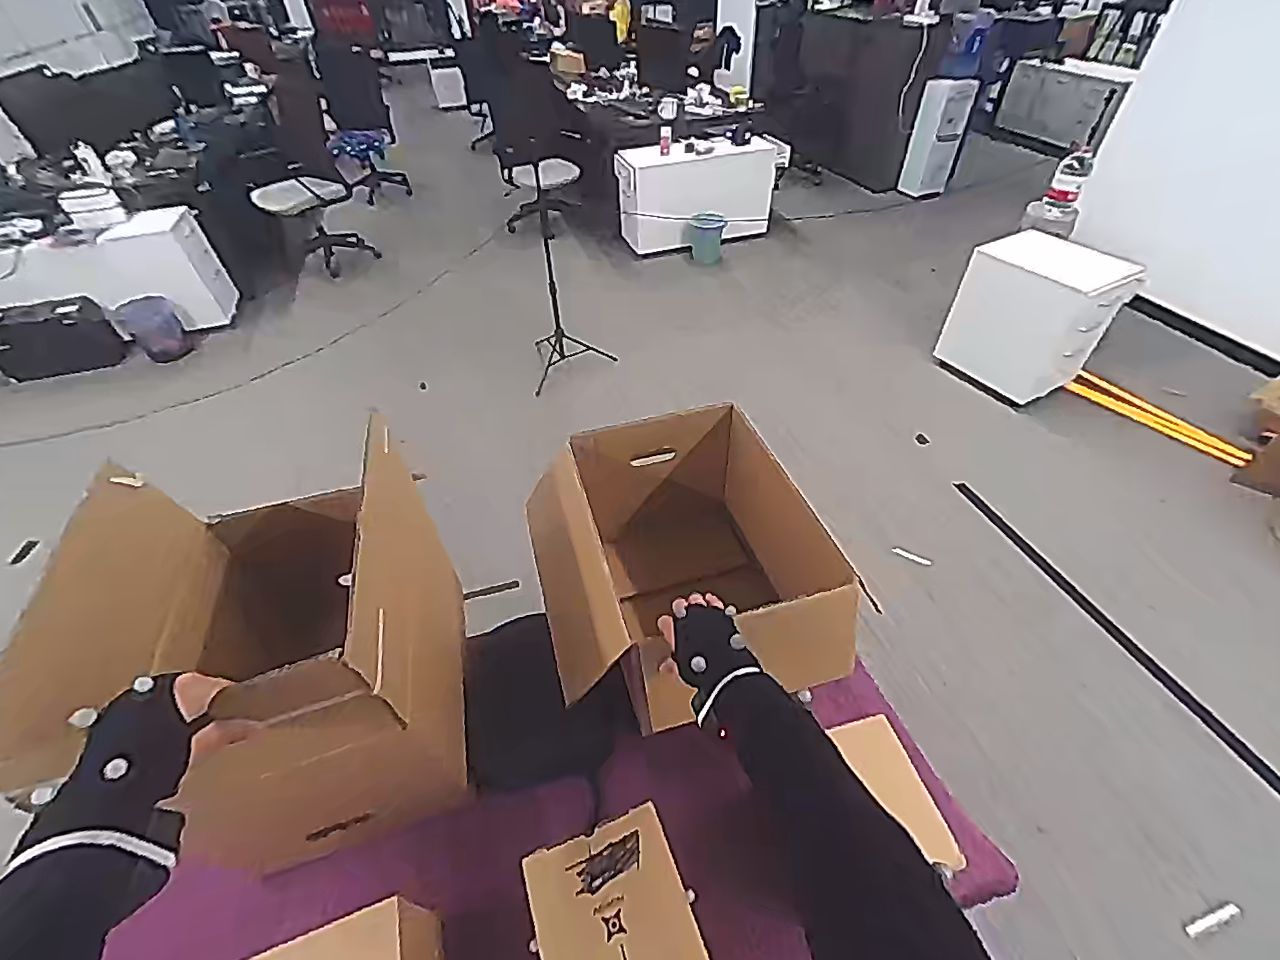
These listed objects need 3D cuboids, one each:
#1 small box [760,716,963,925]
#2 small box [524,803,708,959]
[{"bbox_3d":[0.268,0.444,0.708,0.168,0.176,0.179,-11,45,-7],"label":"small box"},{"bbox_3d":[-0.028,0.527,0.642,0.168,0.176,0.179,-17,48,-13],"label":"small box"}]
